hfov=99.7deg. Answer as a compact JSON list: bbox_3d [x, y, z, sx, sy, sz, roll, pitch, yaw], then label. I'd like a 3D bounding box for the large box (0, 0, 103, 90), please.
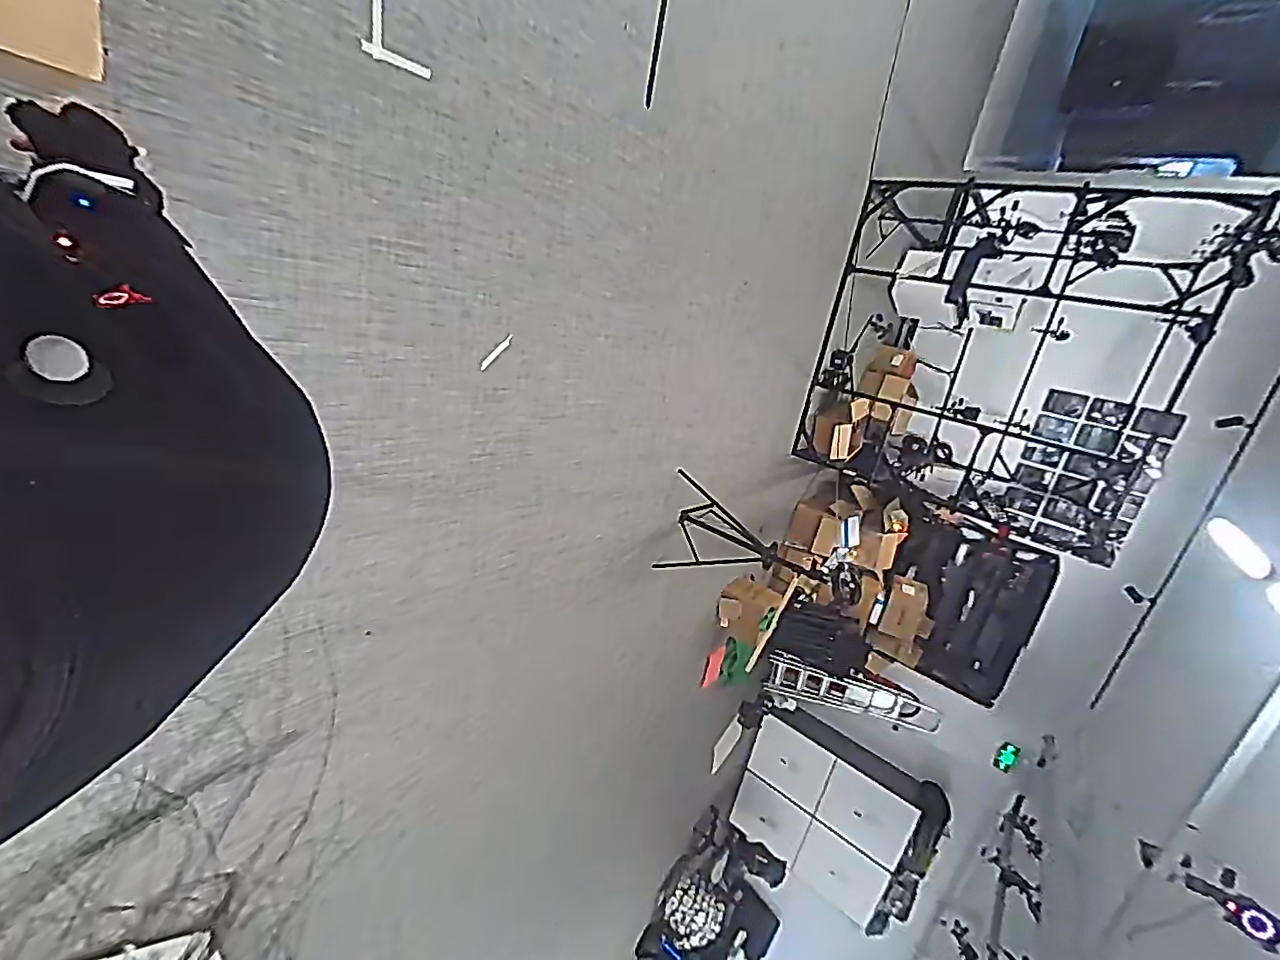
[{"bbox_3d":[-0.989,-0.747,0.666,0.408,0.320,0.320,-11,120,-53],"label":"large box"}]
